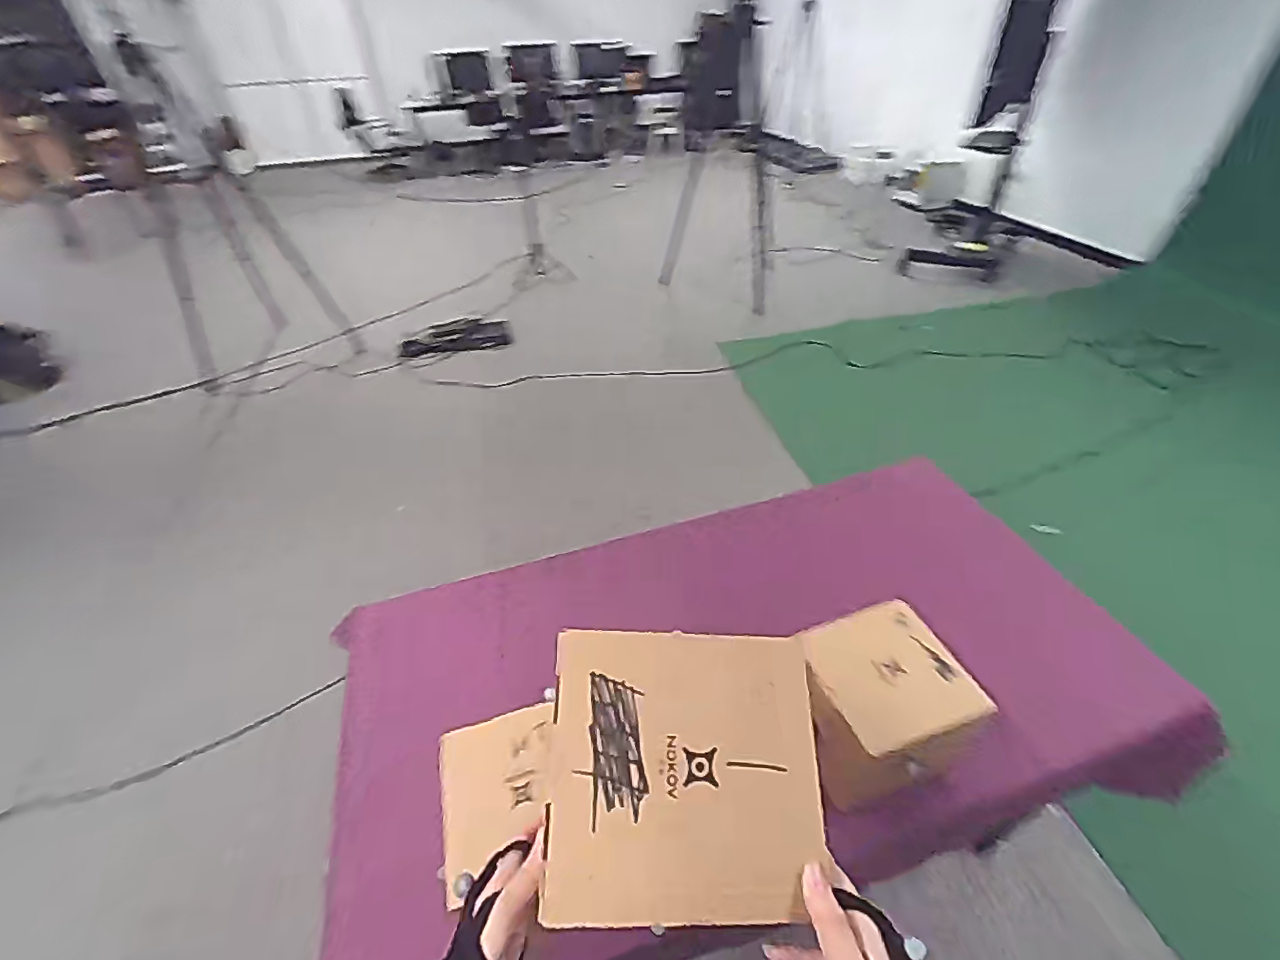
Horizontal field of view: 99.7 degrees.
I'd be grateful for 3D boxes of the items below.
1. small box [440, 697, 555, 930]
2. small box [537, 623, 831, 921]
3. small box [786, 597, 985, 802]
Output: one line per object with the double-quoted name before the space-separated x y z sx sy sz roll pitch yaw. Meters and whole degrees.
"small box" -0.126 0.390 0.634 0.168 0.176 0.179 -13 41 -12
"small box" 0.022 0.214 0.418 0.179 0.176 0.168 5 64 -5
"small box" 0.302 0.292 0.719 0.179 0.176 0.168 -15 42 -12
